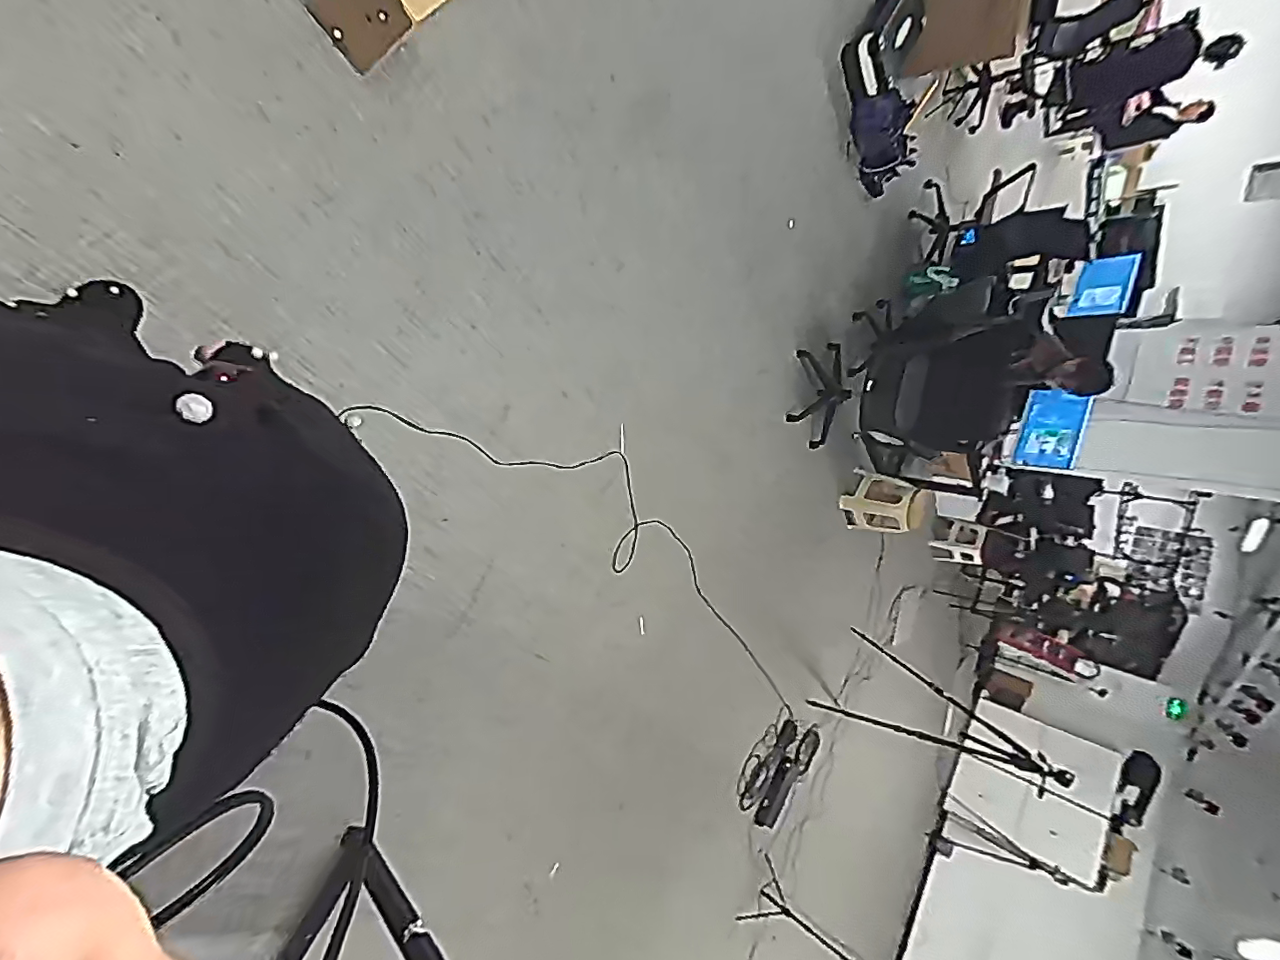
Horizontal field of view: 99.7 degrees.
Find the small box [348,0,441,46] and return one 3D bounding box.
[{"bbox_3d":[-0.529,-1.076,1.149,0.179,0.176,0.168,-59,136,-19],"label":"small box"}]

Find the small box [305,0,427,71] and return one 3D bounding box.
[{"bbox_3d":[-0.641,-1.109,1.261,0.179,0.176,0.168,-58,134,-17],"label":"small box"}]
